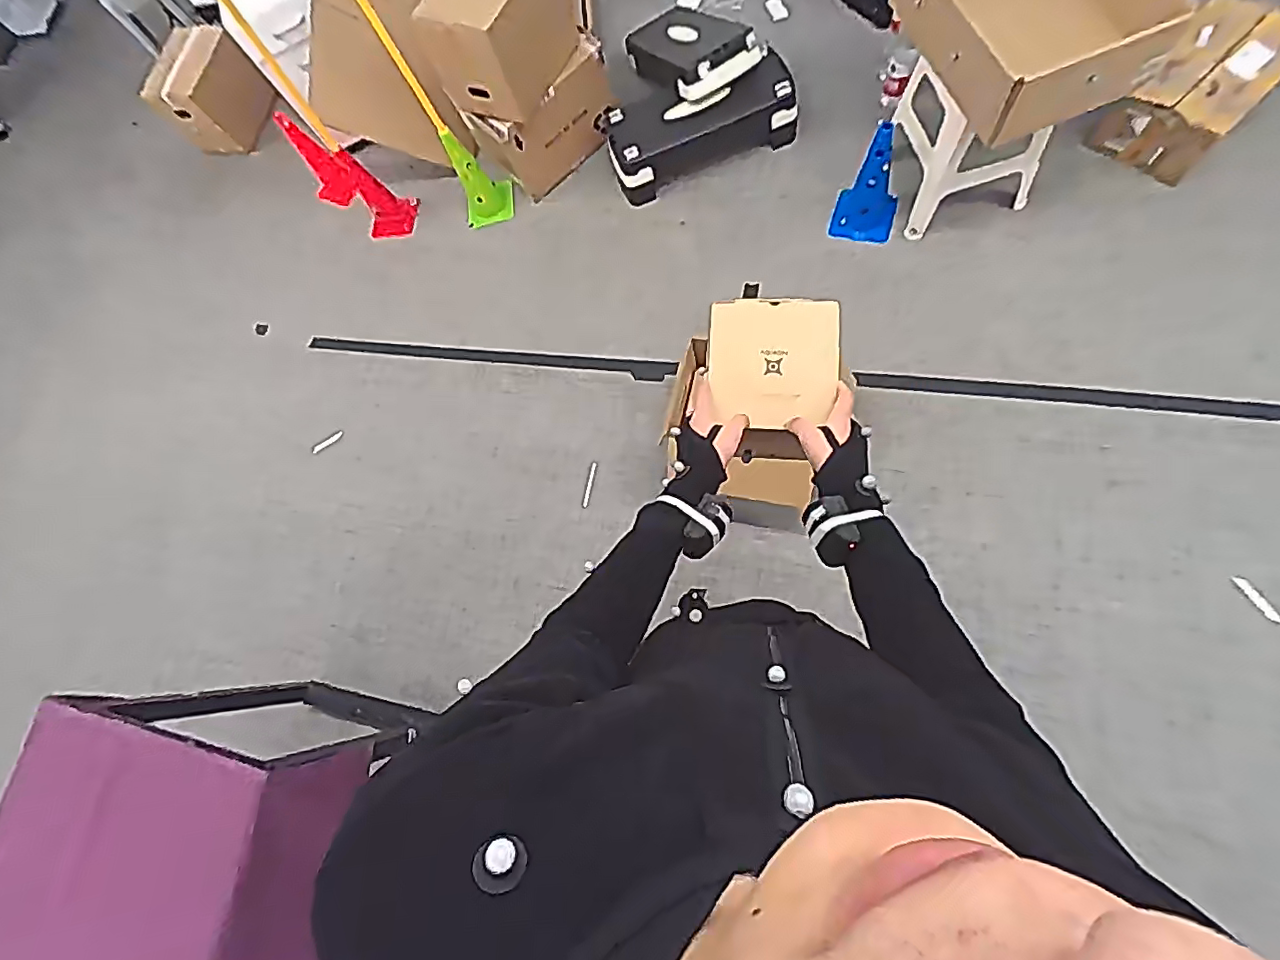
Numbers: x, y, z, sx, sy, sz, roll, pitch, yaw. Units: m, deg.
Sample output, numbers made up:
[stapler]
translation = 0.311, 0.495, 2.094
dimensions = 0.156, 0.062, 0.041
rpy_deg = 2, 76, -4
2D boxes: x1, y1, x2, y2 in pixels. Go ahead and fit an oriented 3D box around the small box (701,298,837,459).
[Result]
[small box]
translation = 0.175, -0.138, 0.775
dimensions = 0.168, 0.176, 0.179
rpy_deg = 3, 79, 5
